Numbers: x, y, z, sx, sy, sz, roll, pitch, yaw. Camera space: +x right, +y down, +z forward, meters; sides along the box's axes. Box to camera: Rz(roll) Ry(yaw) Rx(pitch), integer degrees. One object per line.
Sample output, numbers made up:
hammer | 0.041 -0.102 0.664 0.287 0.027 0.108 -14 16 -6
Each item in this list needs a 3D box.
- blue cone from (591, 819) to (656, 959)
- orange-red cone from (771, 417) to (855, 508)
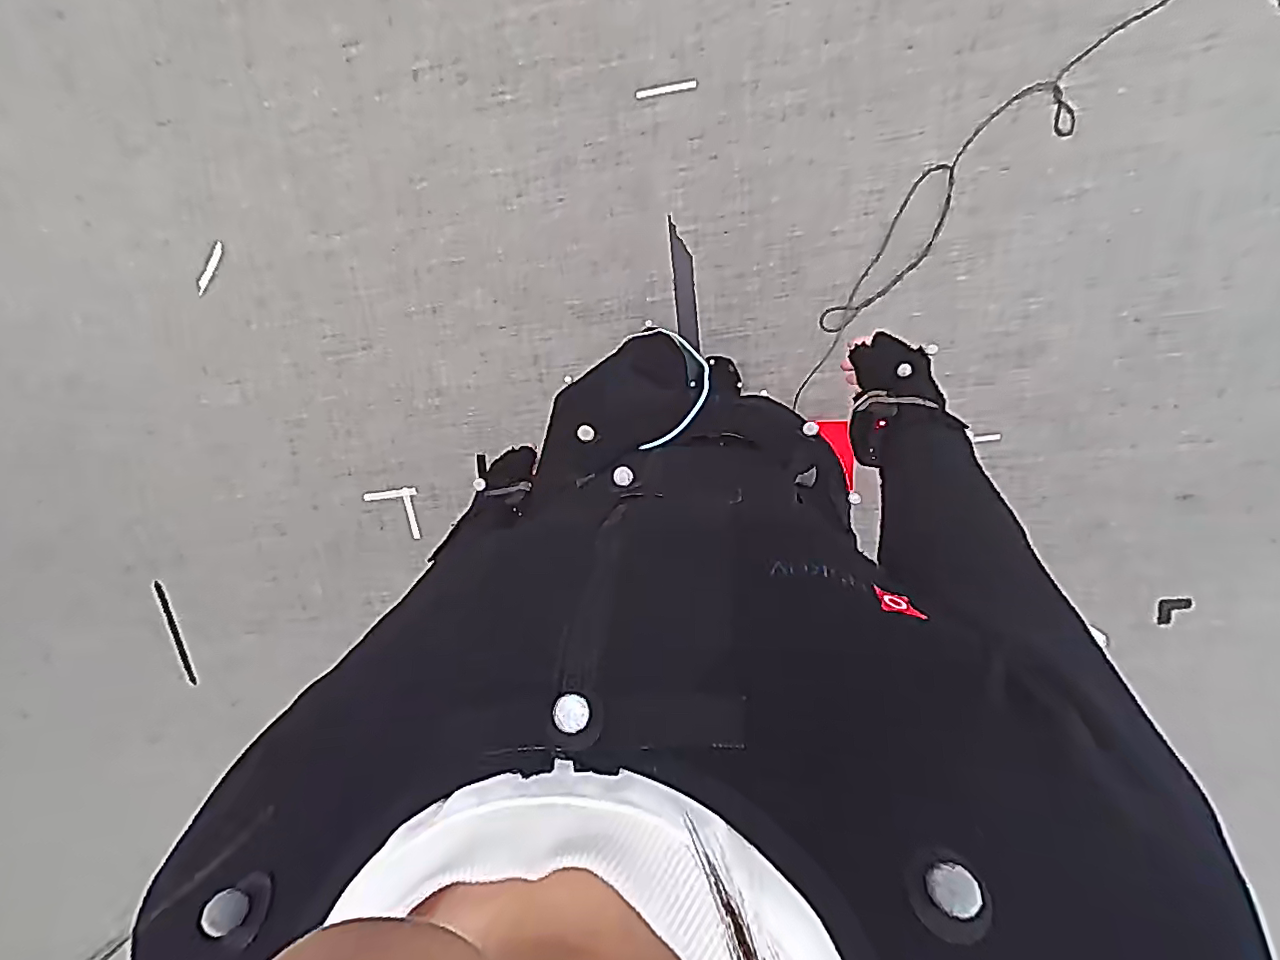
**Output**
blue cone | -0.071 1.234 1.614 0.192 0.380 0.193 0 104 10
orange-red cone | 0.409 -0.013 1.197 0.199 0.360 0.198 0 106 8
